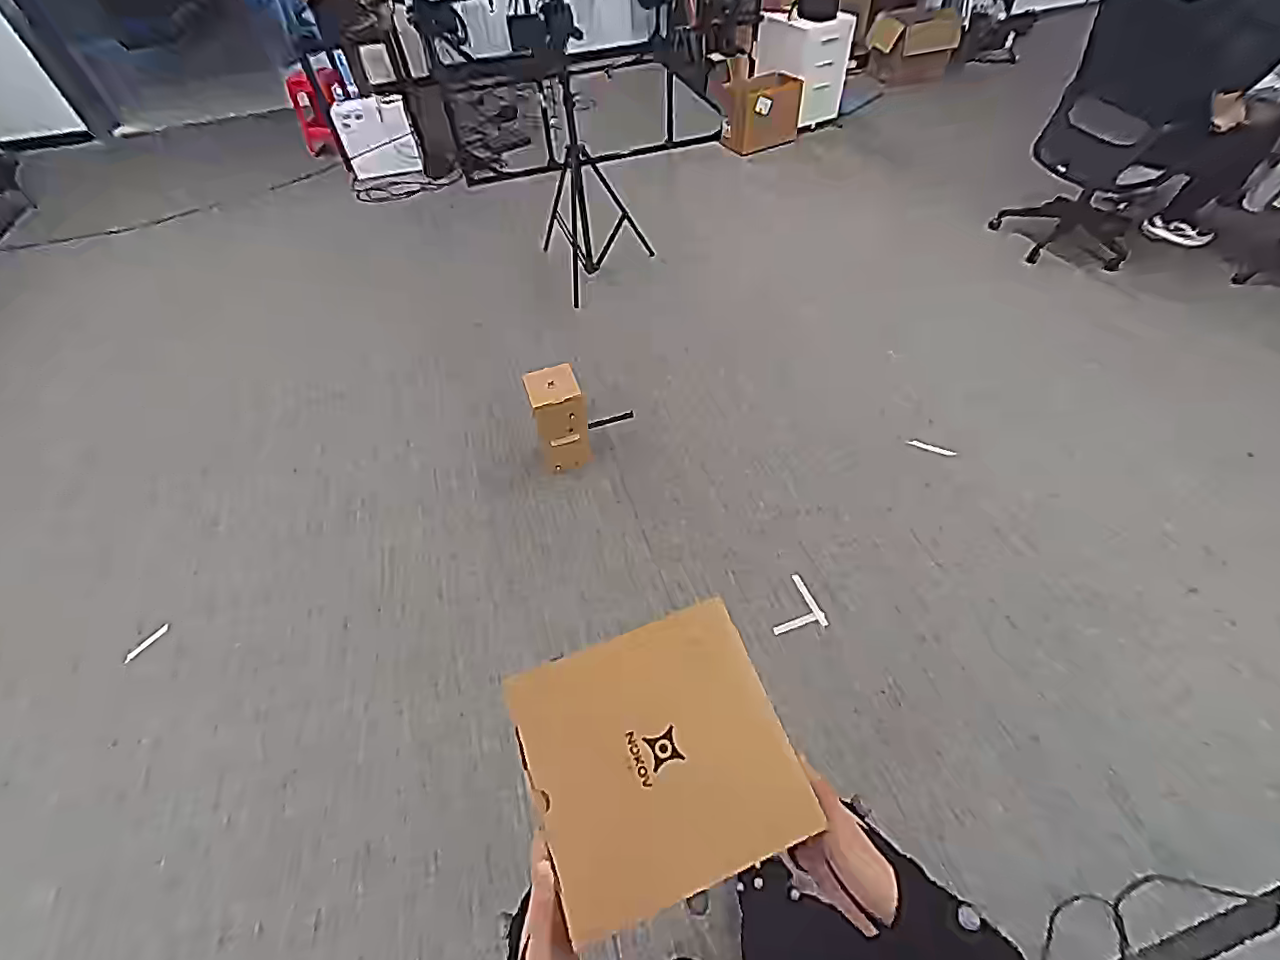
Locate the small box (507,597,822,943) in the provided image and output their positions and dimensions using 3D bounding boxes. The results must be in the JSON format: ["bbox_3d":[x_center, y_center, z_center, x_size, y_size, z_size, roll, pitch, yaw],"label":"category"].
[{"bbox_3d":[0.011,0.219,0.443,0.179,0.176,0.168,-21,64,-9],"label":"small box"}]

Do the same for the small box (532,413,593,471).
[{"bbox_3d":[-0.278,-0.152,1.959,0.168,0.176,0.179,-17,51,-10],"label":"small box"}]

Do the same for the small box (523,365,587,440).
[{"bbox_3d":[-0.285,-0.255,1.834,0.168,0.176,0.179,-17,51,-11],"label":"small box"}]
